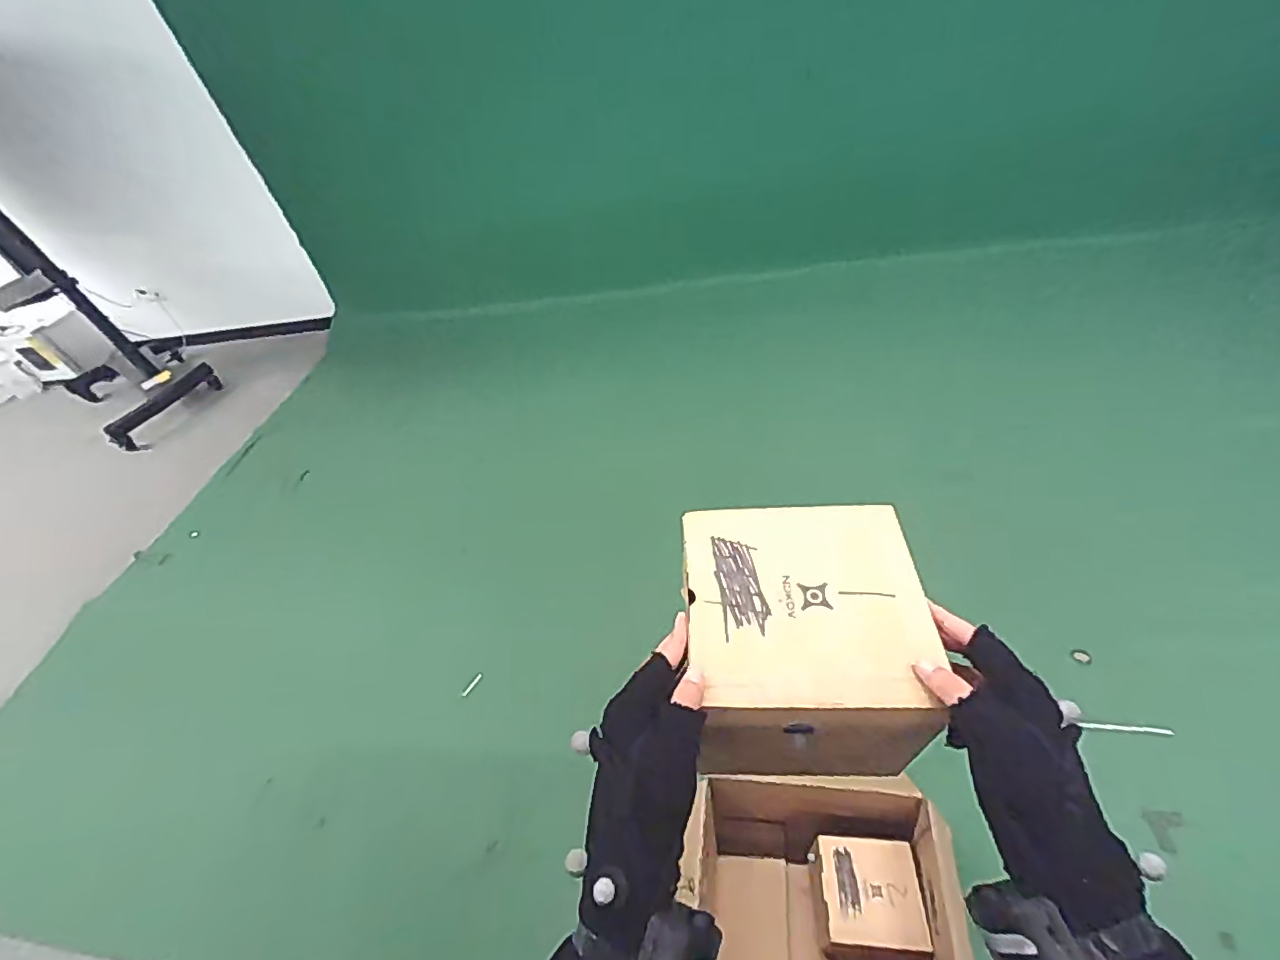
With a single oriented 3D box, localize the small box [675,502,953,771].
[{"bbox_3d":[0.123,0.136,0.457,0.179,0.176,0.168,-2,48,5],"label":"small box"}]
